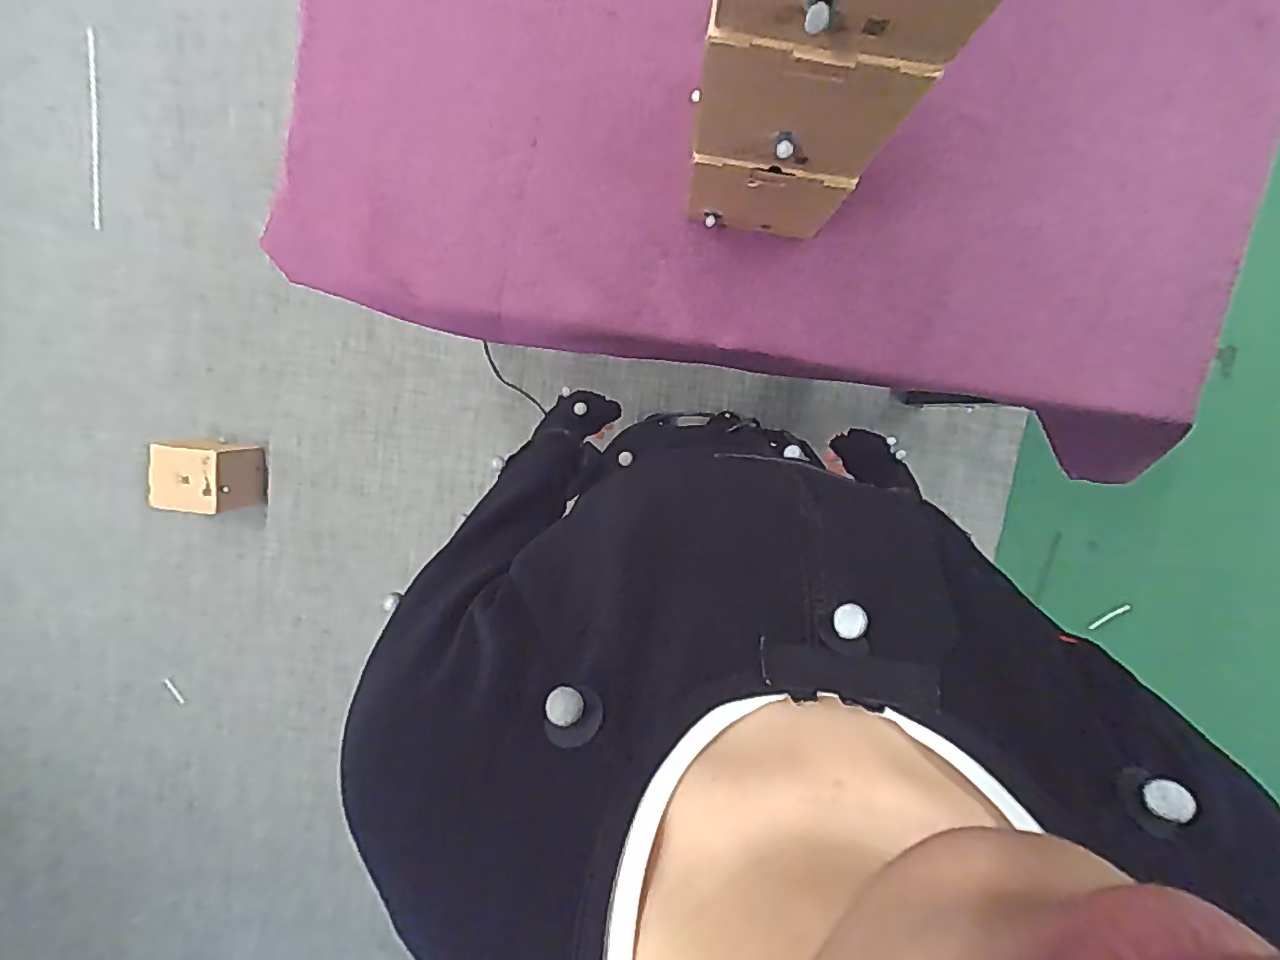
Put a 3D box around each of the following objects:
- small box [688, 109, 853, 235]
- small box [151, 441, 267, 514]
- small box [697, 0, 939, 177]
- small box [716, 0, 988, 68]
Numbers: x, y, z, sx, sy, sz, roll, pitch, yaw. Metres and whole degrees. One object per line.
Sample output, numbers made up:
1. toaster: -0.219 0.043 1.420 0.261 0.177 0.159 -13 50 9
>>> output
1. small box: 0.150 -0.399 0.608 0.168 0.176 0.179 11 97 1
2. small box: -1.147 -0.012 1.446 0.179 0.176 0.168 7 97 2
3. small box: 0.143 -0.387 0.445 0.168 0.176 0.179 10 98 2
4. small box: 0.137 -0.371 0.283 0.168 0.176 0.179 10 97 2
